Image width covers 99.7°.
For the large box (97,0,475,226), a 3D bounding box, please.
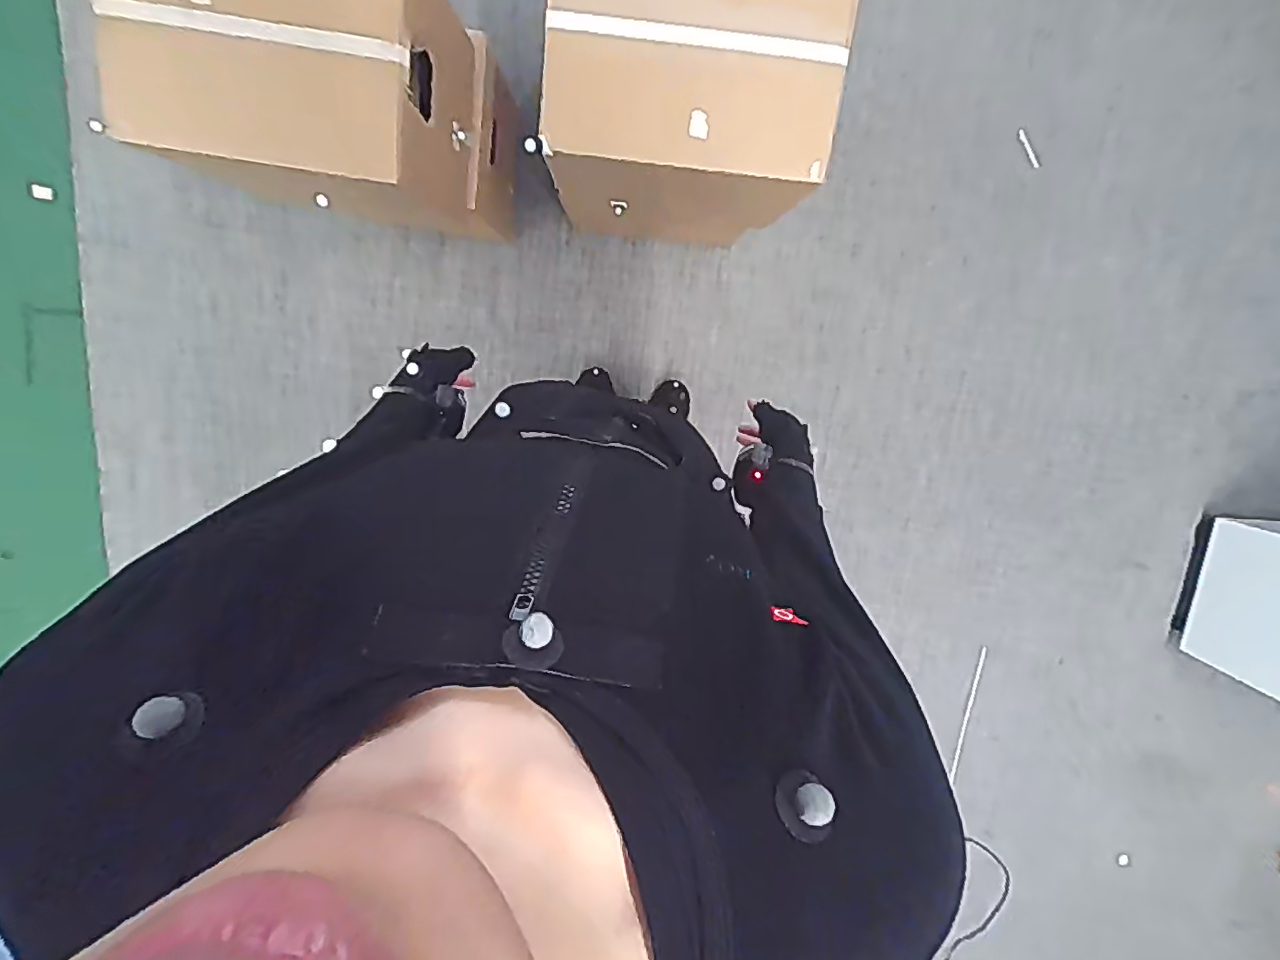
[{"bbox_3d":[-0.510,-0.619,0.860,0.408,0.320,0.320,9,104,-1],"label":"large box"}]
